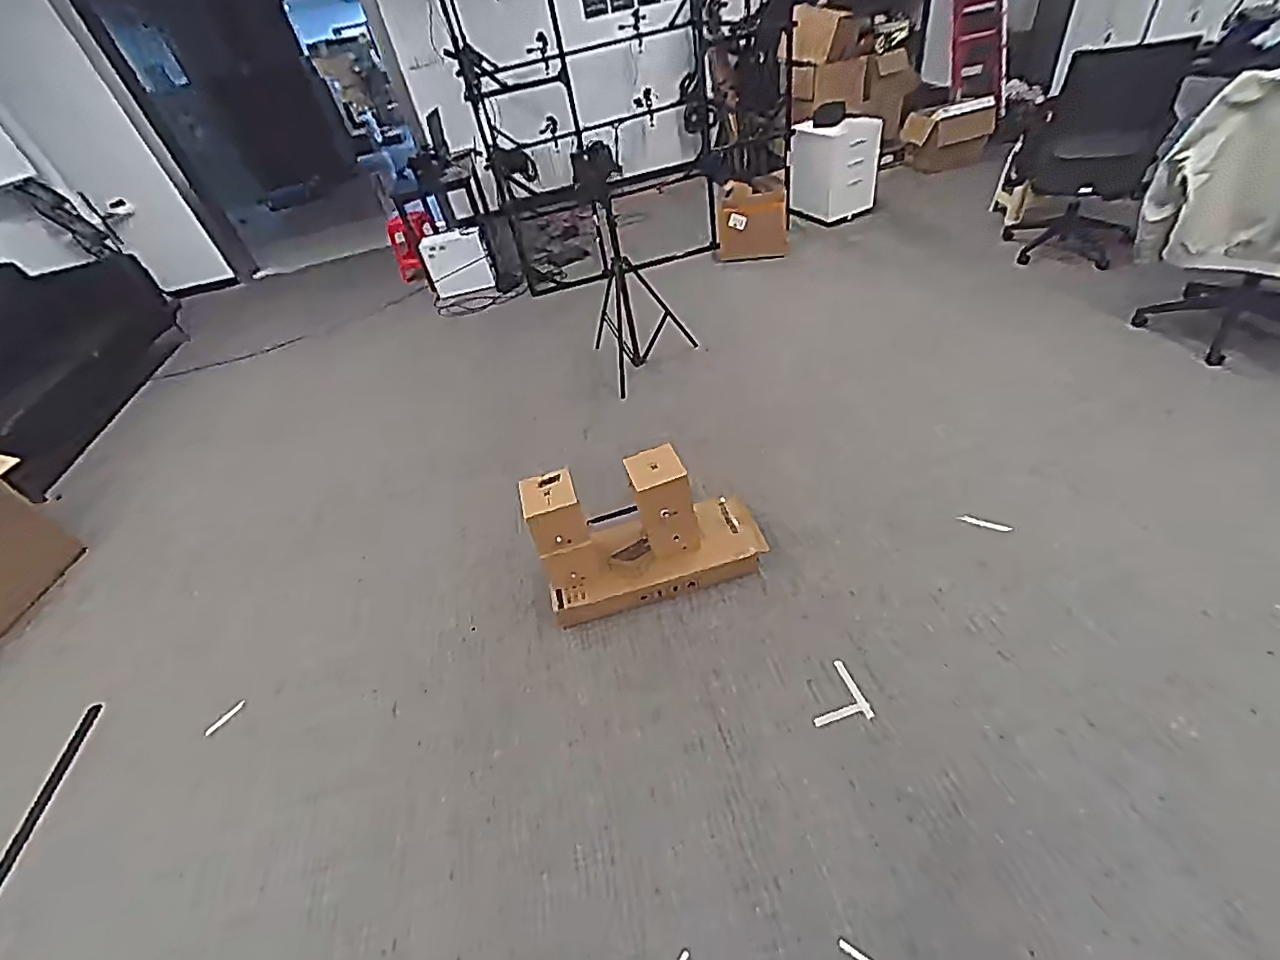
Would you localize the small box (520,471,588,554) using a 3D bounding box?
[{"bbox_3d":[-0.273,0.103,1.717,0.168,0.176,0.179,-17,41,-6],"label":"small box"}]

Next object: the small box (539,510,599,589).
[{"bbox_3d":[-0.242,0.233,1.812,0.168,0.176,0.179,-16,41,-4],"label":"small box"}]

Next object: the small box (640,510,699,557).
[{"bbox_3d":[0.094,0.140,1.840,0.168,0.176,0.179,-18,42,-4],"label":"small box"}]

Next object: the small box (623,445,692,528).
[{"bbox_3d":[0.057,0.022,1.731,0.168,0.176,0.179,-20,42,-7],"label":"small box"}]
